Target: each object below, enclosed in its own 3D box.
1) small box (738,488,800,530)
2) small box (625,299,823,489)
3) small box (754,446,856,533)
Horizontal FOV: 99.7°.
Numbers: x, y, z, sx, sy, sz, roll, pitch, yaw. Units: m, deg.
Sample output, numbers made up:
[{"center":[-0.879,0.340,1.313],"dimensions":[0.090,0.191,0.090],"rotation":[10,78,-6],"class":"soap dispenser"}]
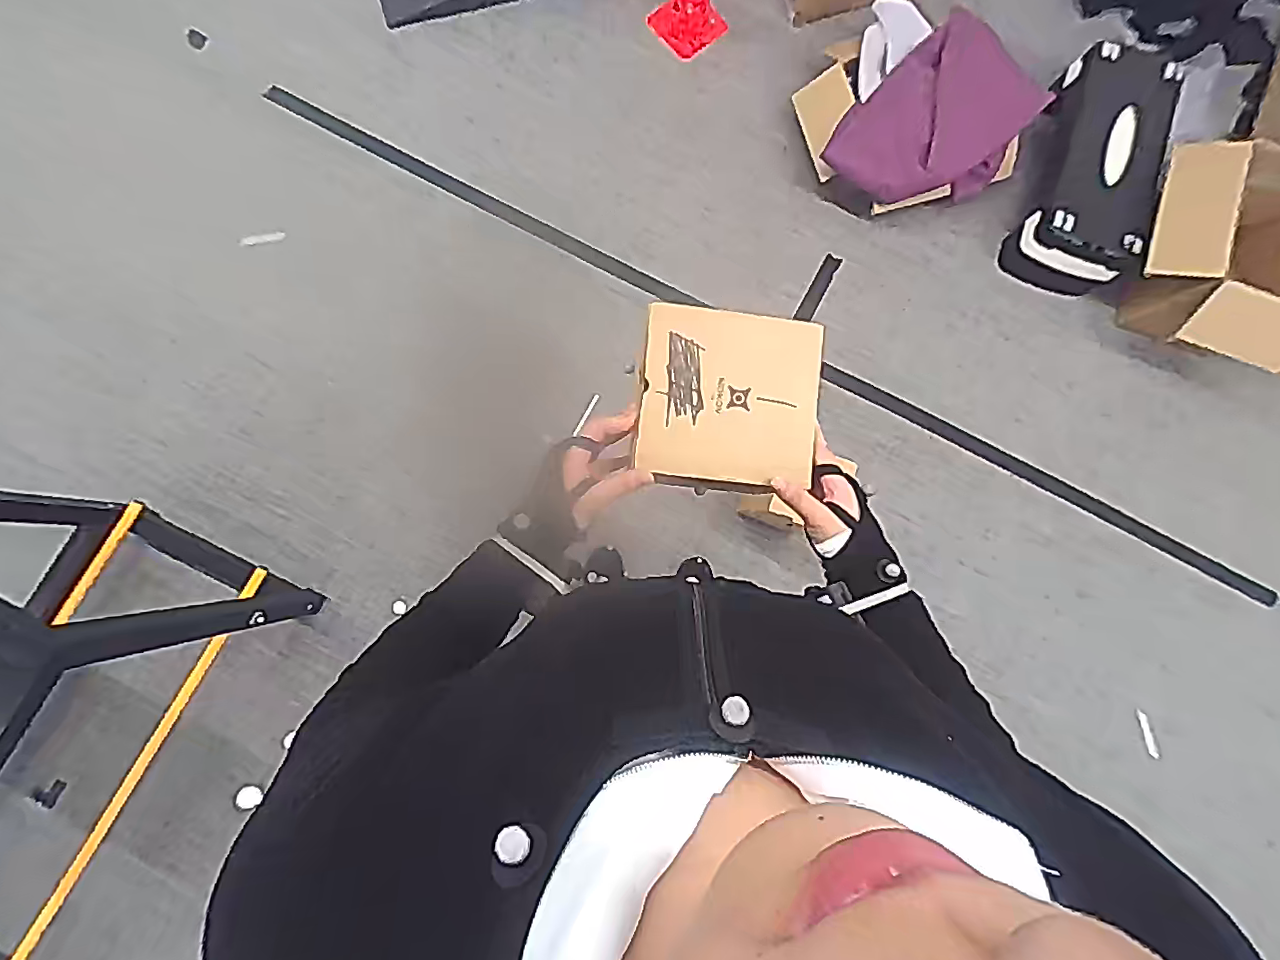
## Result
[{"center":[0.387,0.033,1.470],"dimensions":[0.179,0.176,0.168],"rotation":[22,83,0],"class":"small box"},{"center":[0.079,-0.081,0.598],"dimensions":[0.179,0.176,0.168],"rotation":[6,87,-5],"class":"small box"},{"center":[0.388,0.020,1.307],"dimensions":[0.168,0.176,0.179],"rotation":[21,84,0],"class":"small box"}]
